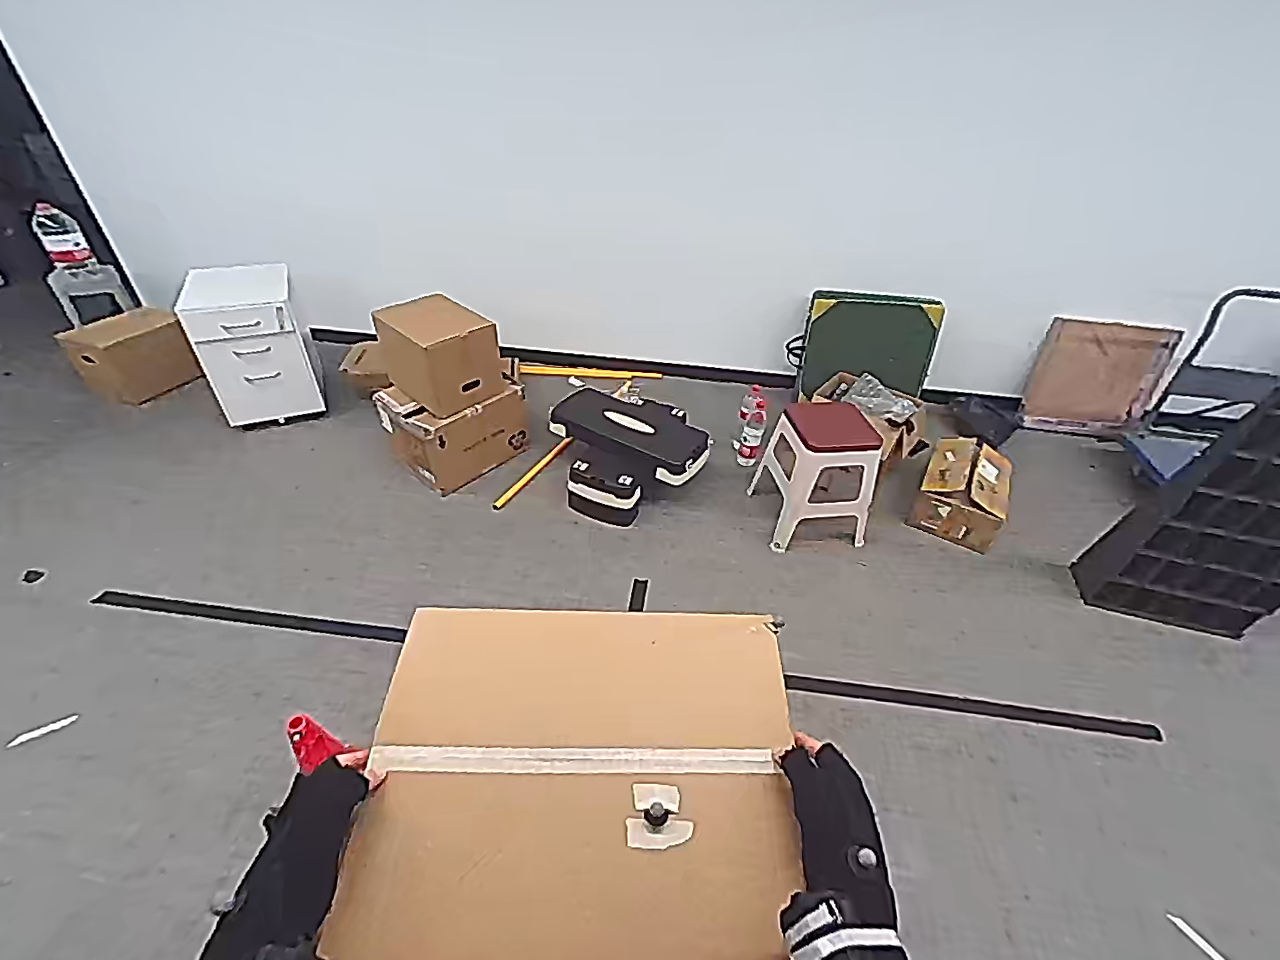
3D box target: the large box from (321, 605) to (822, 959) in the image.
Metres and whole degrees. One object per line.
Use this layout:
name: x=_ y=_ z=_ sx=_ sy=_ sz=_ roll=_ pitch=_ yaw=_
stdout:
large box: x=-0.059 y=0.363 z=0.632 sx=0.408 sy=0.320 sz=0.320 roll=2 pitch=48 yaw=-2

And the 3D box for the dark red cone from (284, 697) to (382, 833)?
dark red cone: x=-0.727 y=0.622 z=1.243 sx=0.201 sy=0.394 sz=0.202 roll=12 pitch=40 yaw=8
